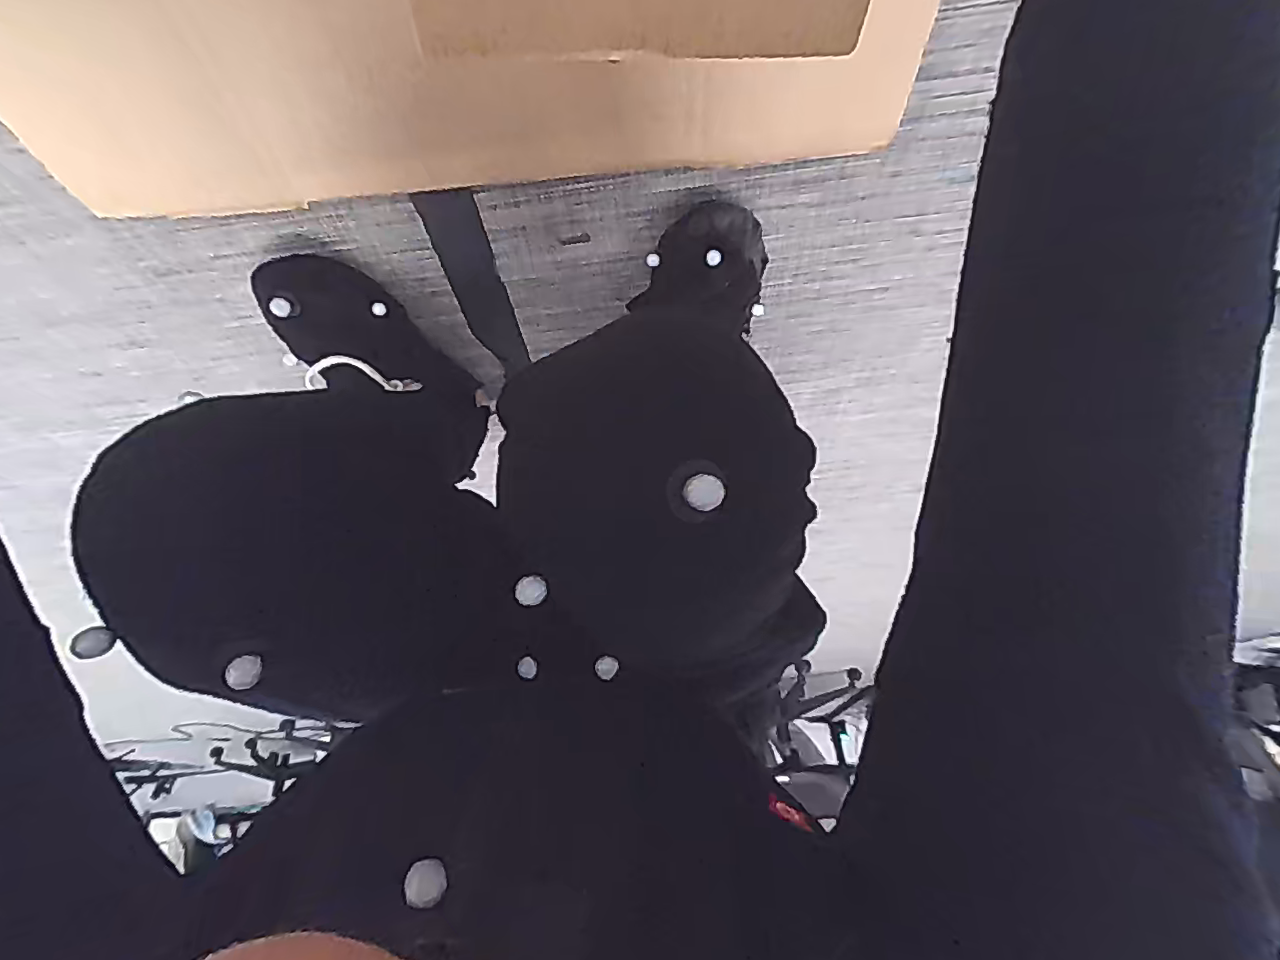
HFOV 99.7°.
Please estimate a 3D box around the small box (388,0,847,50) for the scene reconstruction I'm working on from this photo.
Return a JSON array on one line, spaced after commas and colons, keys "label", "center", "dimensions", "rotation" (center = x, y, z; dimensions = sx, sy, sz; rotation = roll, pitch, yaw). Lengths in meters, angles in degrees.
[{"label": "small box", "center": [-0.009, -0.285, 0.190], "dimensions": [0.179, 0.176, 0.168], "rotation": [-3, 148, -4]}]
